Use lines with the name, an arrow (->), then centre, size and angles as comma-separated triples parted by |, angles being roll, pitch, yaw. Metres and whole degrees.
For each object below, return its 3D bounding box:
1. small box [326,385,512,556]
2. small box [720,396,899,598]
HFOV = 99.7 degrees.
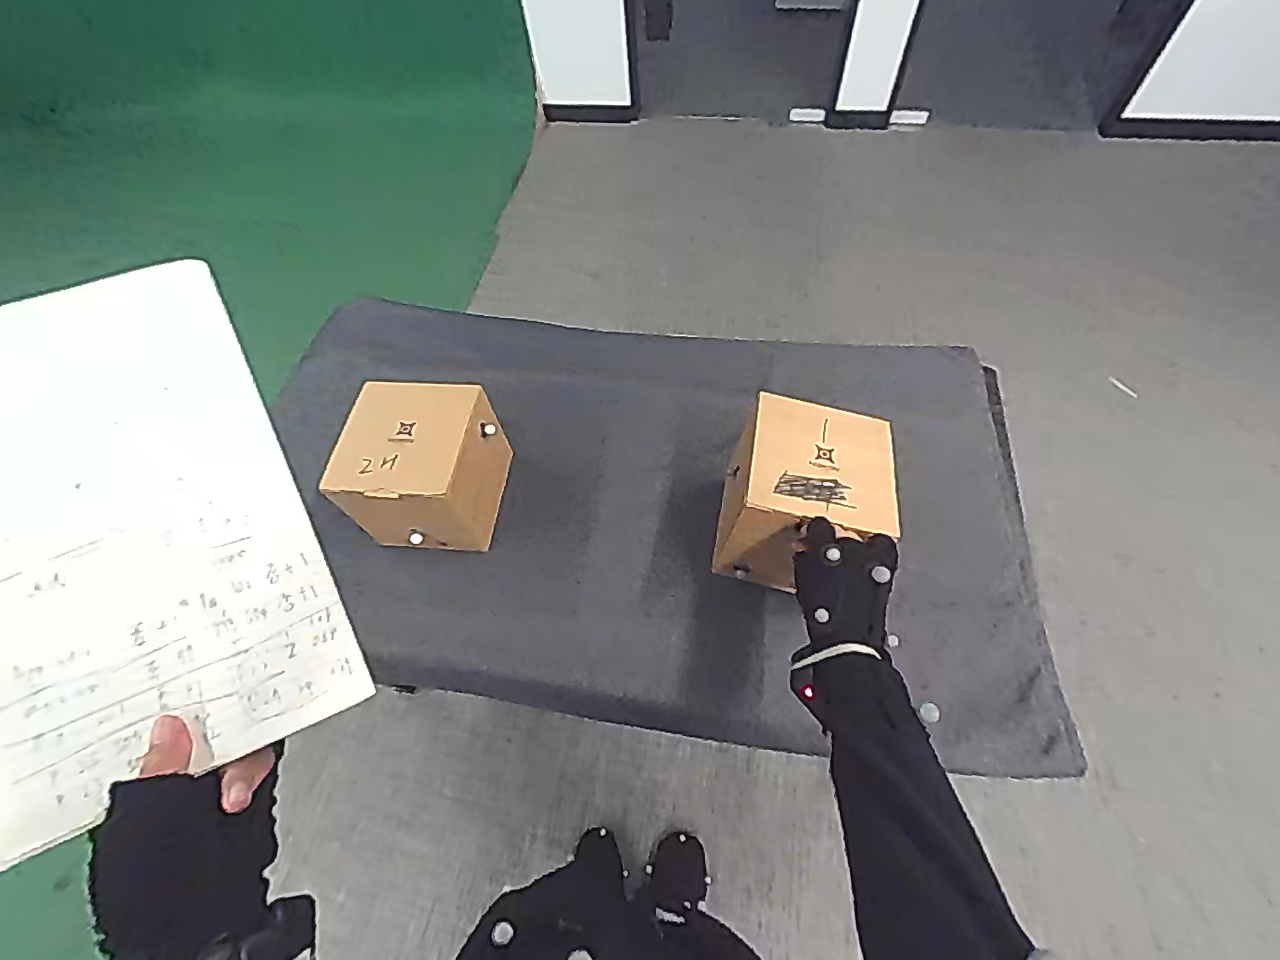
small box -> -0.291, -0.011, 0.762 | 0.168, 0.176, 0.179 | 3, 59, 6
small box -> 0.203, 0.027, 0.683 | 0.168, 0.176, 0.179 | 13, 53, 3
